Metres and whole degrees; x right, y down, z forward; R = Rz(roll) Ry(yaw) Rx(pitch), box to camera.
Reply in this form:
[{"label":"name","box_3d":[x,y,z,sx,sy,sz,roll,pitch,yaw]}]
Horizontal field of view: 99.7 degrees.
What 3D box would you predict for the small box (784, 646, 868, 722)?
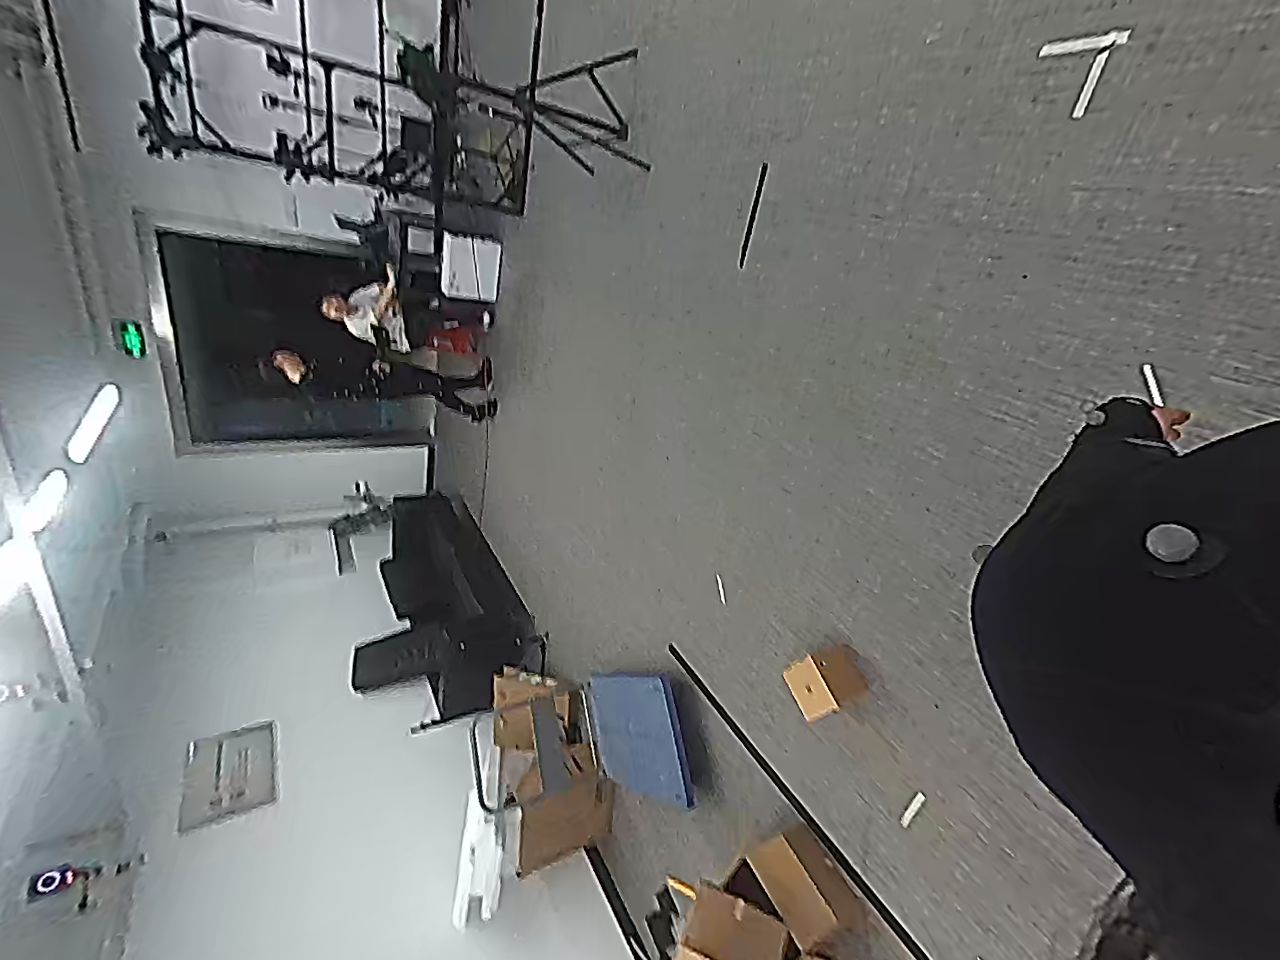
[{"label":"small box","box_3d":[0.631,0.687,1.829,0.168,0.176,0.179,-58,47,44]}]
